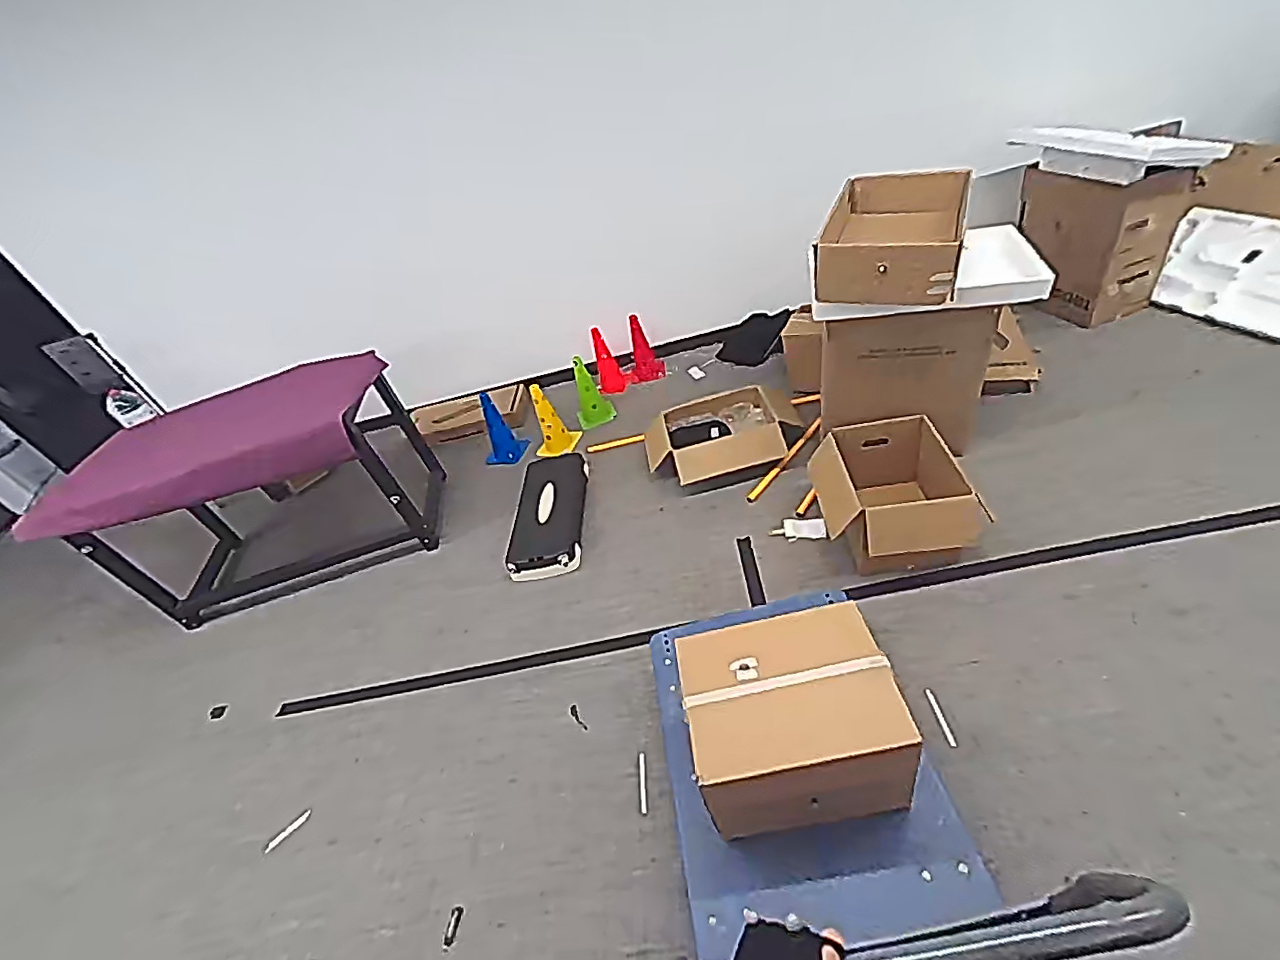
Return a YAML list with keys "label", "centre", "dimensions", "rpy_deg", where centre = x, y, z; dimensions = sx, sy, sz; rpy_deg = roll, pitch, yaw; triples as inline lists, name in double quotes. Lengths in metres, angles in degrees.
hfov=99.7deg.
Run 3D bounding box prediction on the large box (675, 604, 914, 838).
- label: "large box"
  centre: [0.321, 0.527, 1.178]
  dimensions: [0.408, 0.320, 0.320]
  rpy_deg: [-15, 38, 5]
